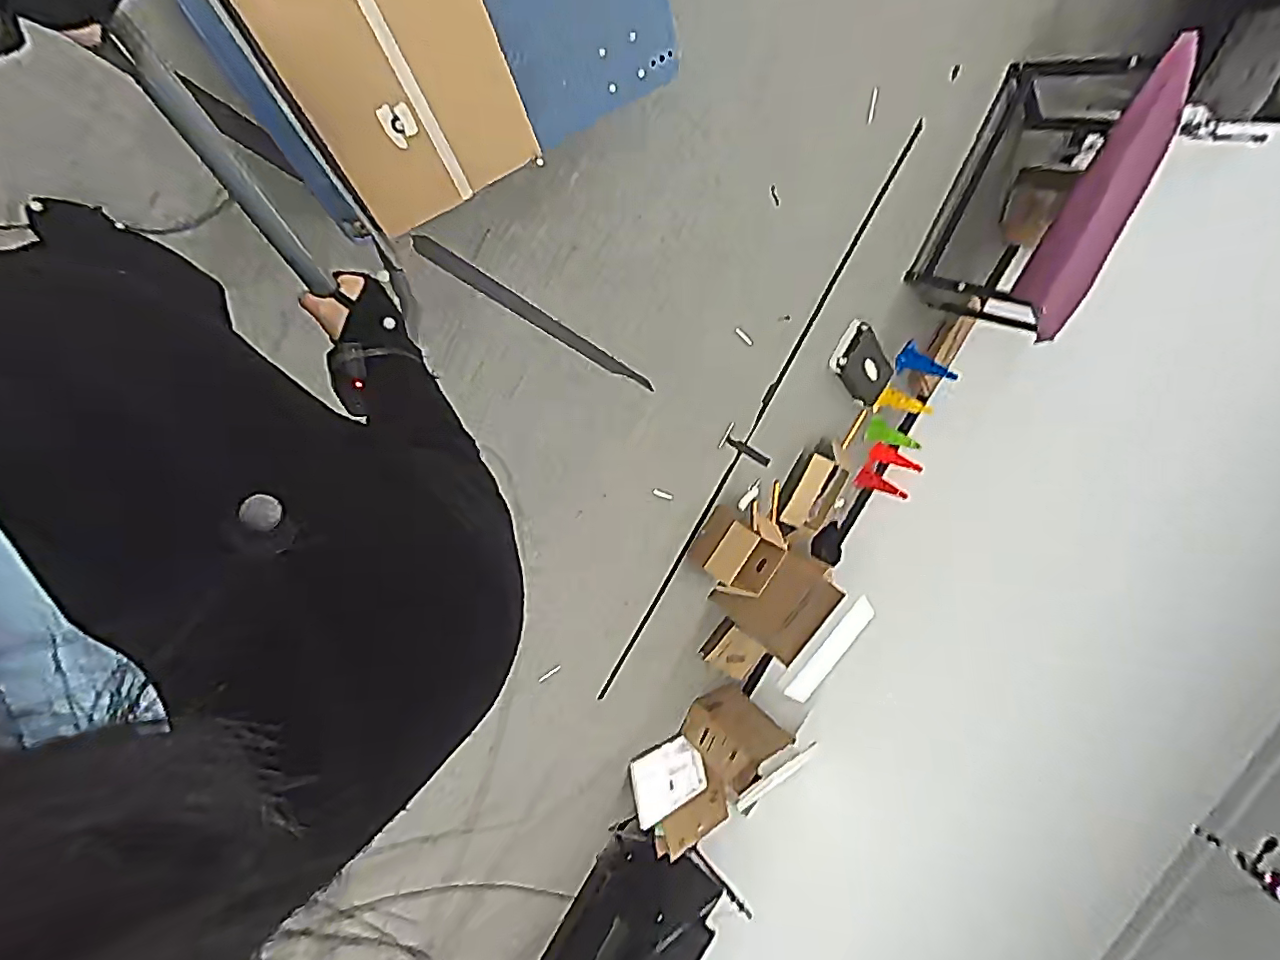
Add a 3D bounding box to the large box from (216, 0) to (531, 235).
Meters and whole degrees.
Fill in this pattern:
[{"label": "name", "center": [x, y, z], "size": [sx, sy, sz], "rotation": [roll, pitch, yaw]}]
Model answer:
[{"label": "large box", "center": [-0.450, -0.706, 0.898], "size": [0.320, 0.320, 0.408], "rotation": [-34, 140, -8]}]
